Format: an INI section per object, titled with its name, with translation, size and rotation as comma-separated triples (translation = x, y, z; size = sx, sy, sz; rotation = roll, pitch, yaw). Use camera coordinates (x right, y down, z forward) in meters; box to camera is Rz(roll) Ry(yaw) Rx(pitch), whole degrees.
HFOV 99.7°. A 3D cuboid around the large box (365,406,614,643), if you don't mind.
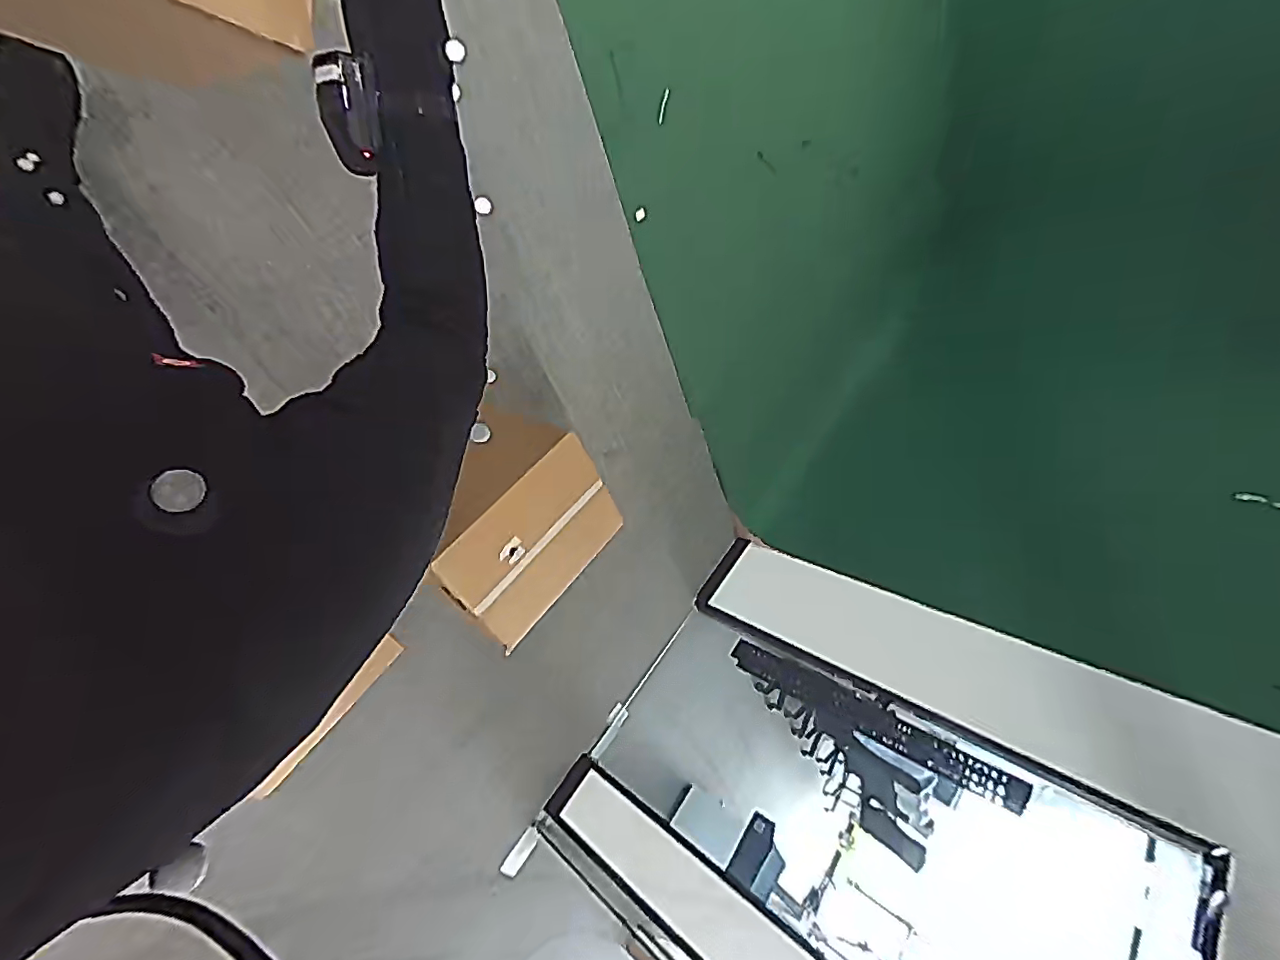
[large box]
translation = -0.337, 0.085, 1.272
size = 0.408, 0.320, 0.320
rotation = -47, 134, -25
